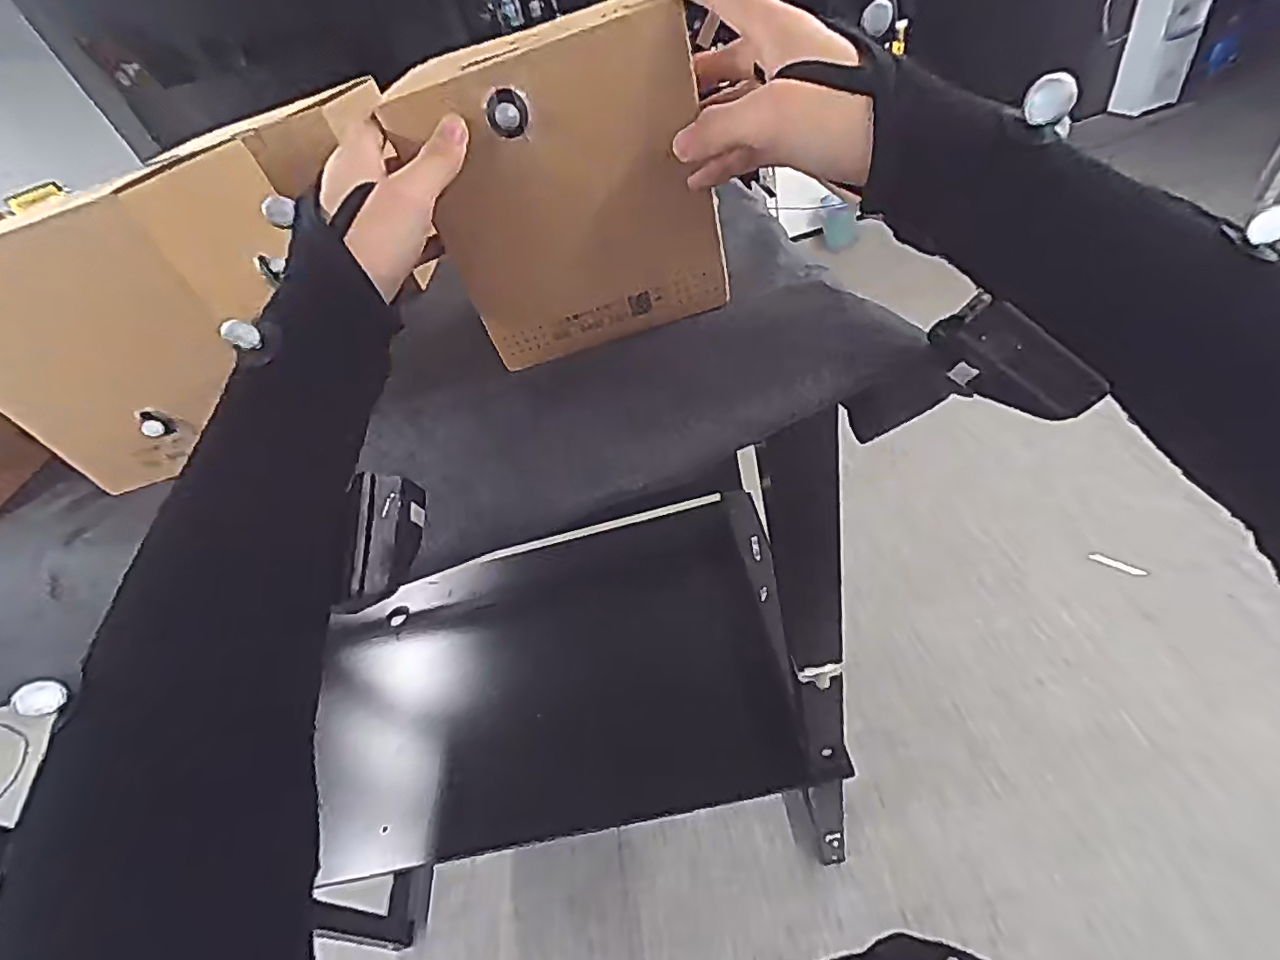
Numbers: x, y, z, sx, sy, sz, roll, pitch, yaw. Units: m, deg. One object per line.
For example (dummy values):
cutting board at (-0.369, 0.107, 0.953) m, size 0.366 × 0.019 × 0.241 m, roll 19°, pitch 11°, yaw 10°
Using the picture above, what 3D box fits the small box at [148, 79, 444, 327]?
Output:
small box at (-0.328, -0.287, 0.565) m, size 0.168 × 0.176 × 0.179 m, roll -15°, pitch 42°, yaw 6°

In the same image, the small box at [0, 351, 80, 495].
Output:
small box at (-0.632, -0.042, 0.428) m, size 0.179 × 0.176 × 0.168 m, roll -16°, pitch 40°, yaw 2°
